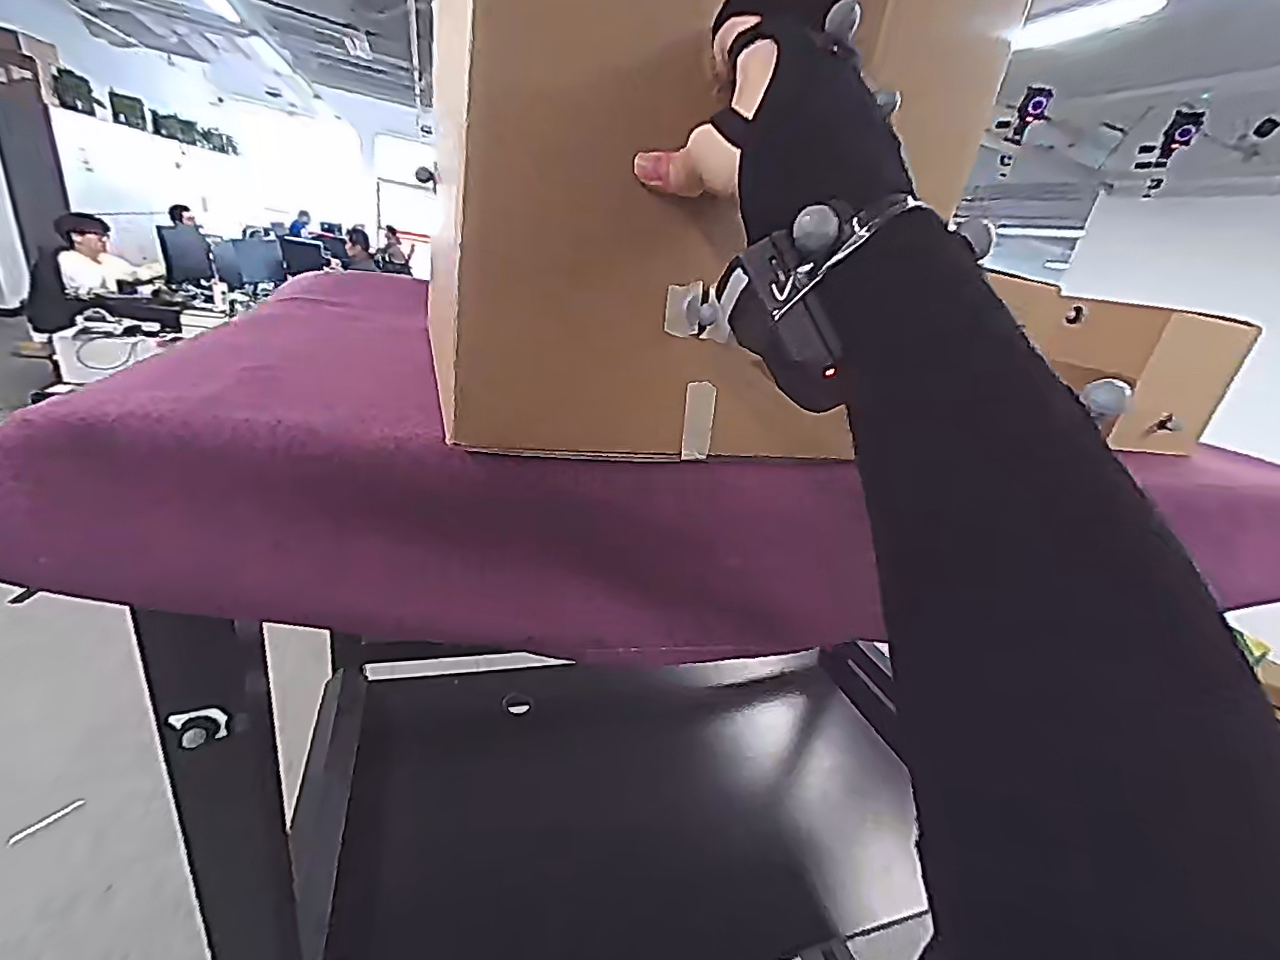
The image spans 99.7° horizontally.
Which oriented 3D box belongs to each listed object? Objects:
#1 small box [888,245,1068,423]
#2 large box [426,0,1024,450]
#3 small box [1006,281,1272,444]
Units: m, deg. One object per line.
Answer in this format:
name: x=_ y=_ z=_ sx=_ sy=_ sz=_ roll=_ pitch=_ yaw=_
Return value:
small box: x=0.321 y=-0.170 z=0.622 sx=0.179 sy=0.176 sz=0.168 roll=2 pitch=23 yaw=-18
large box: x=-0.006 y=-0.236 z=0.458 sx=0.320 sy=0.320 sz=0.408 roll=1 pitch=23 yaw=-24
small box: x=0.626 y=-0.153 z=0.705 sx=0.179 sy=0.176 sz=0.168 roll=2 pitch=23 yaw=-19
